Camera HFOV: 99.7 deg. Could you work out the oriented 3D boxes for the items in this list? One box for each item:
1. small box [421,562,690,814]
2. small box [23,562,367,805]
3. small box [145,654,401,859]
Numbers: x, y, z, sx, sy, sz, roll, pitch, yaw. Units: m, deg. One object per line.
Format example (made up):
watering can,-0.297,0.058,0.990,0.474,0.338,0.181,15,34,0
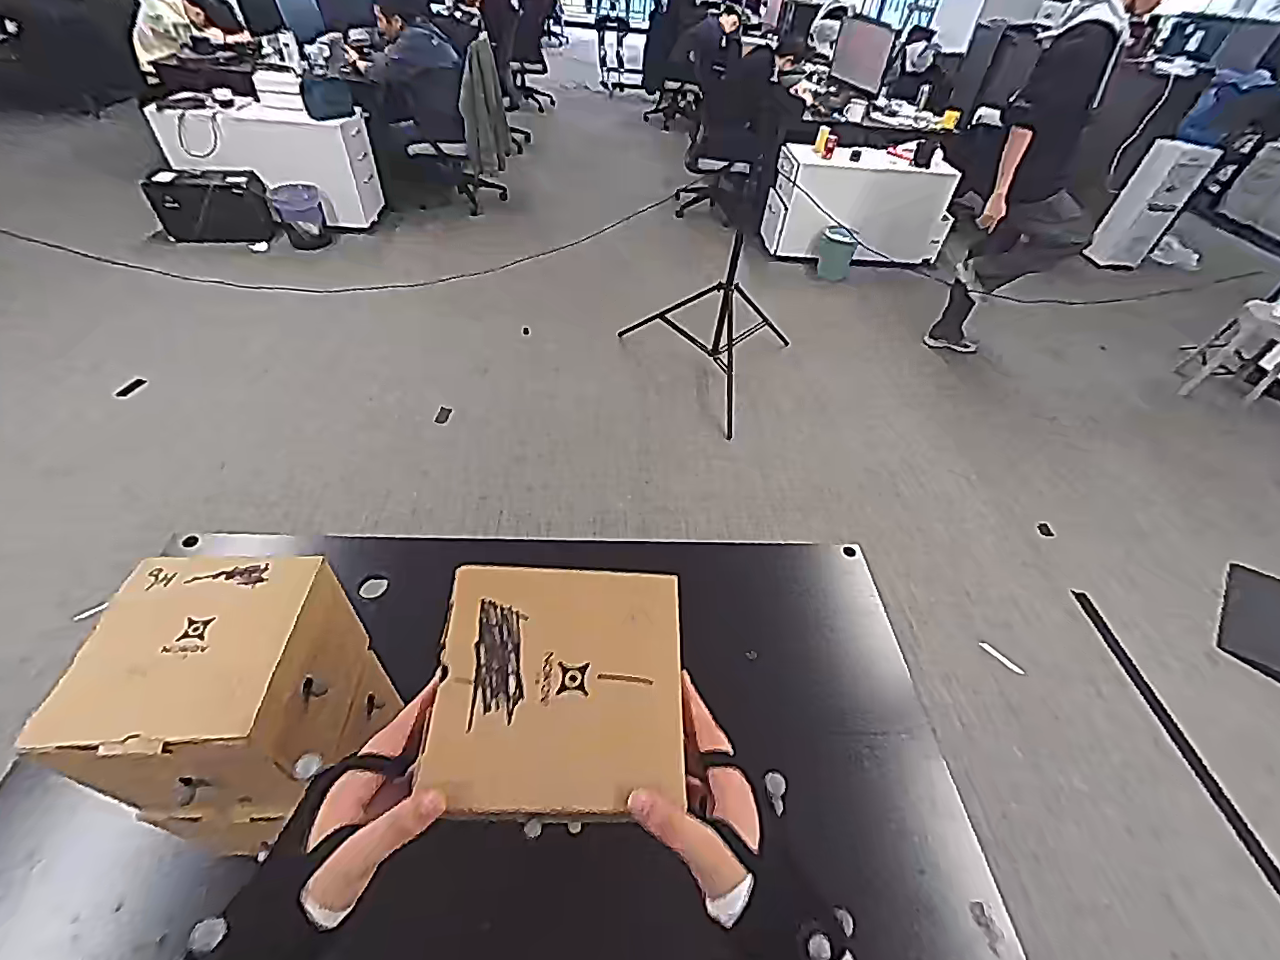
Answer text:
small box,-0.061,0.183,0.457,0.179,0.176,0.168,4,56,-6
small box,-0.386,0.198,0.519,0.168,0.176,0.179,0,46,-6
small box,-0.396,0.319,0.630,0.168,0.176,0.179,2,46,-4
